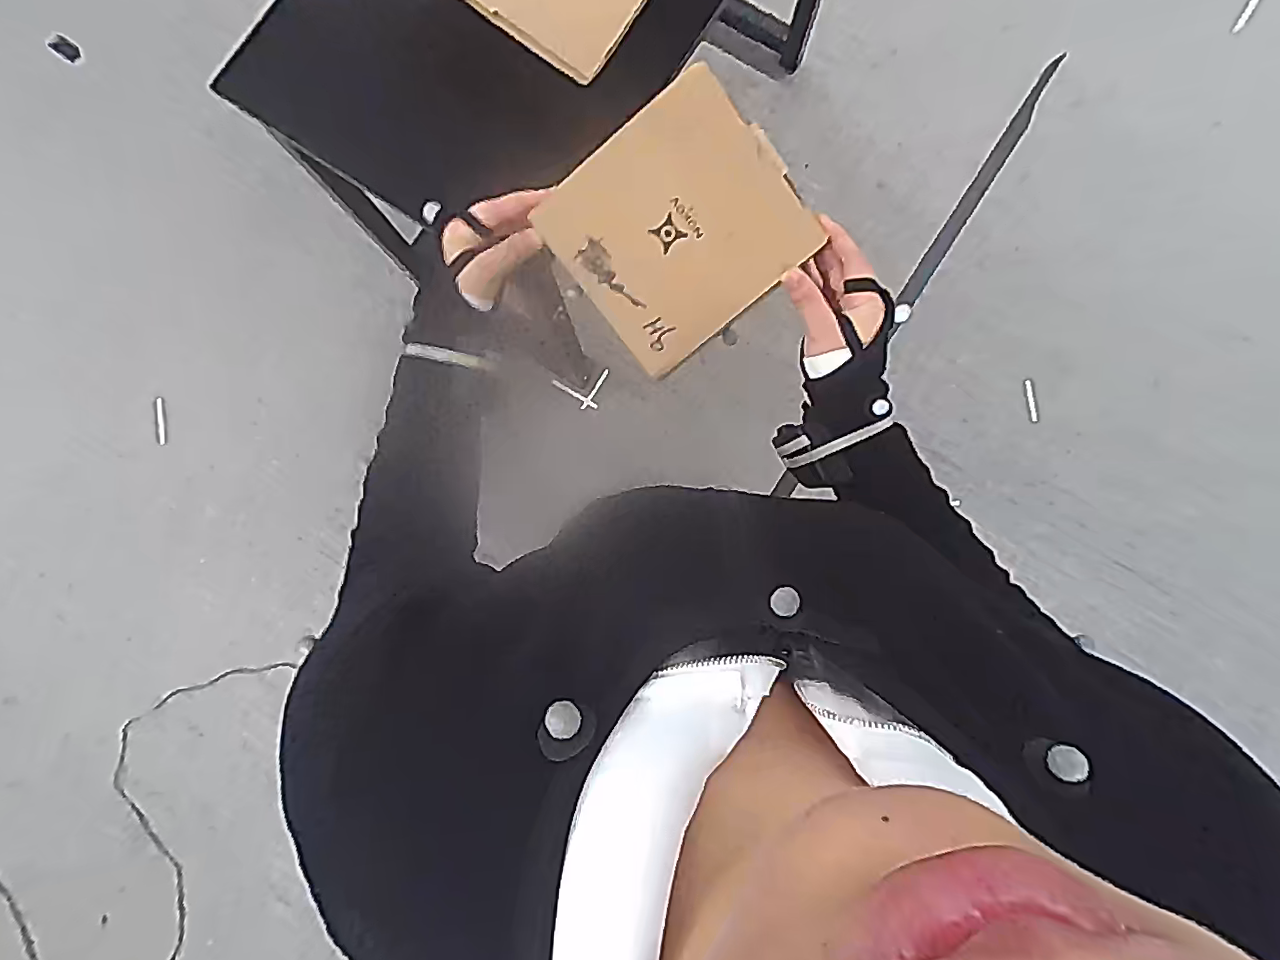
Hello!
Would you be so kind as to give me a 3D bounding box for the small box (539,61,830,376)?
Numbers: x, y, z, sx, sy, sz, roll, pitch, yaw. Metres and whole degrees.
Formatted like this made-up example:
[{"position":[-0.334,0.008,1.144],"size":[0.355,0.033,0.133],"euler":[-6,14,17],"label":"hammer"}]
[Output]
[{"position":[0.036,-0.215,0.503],"size":[0.179,0.176,0.168],"euler":[-38,94,7],"label":"small box"}]
